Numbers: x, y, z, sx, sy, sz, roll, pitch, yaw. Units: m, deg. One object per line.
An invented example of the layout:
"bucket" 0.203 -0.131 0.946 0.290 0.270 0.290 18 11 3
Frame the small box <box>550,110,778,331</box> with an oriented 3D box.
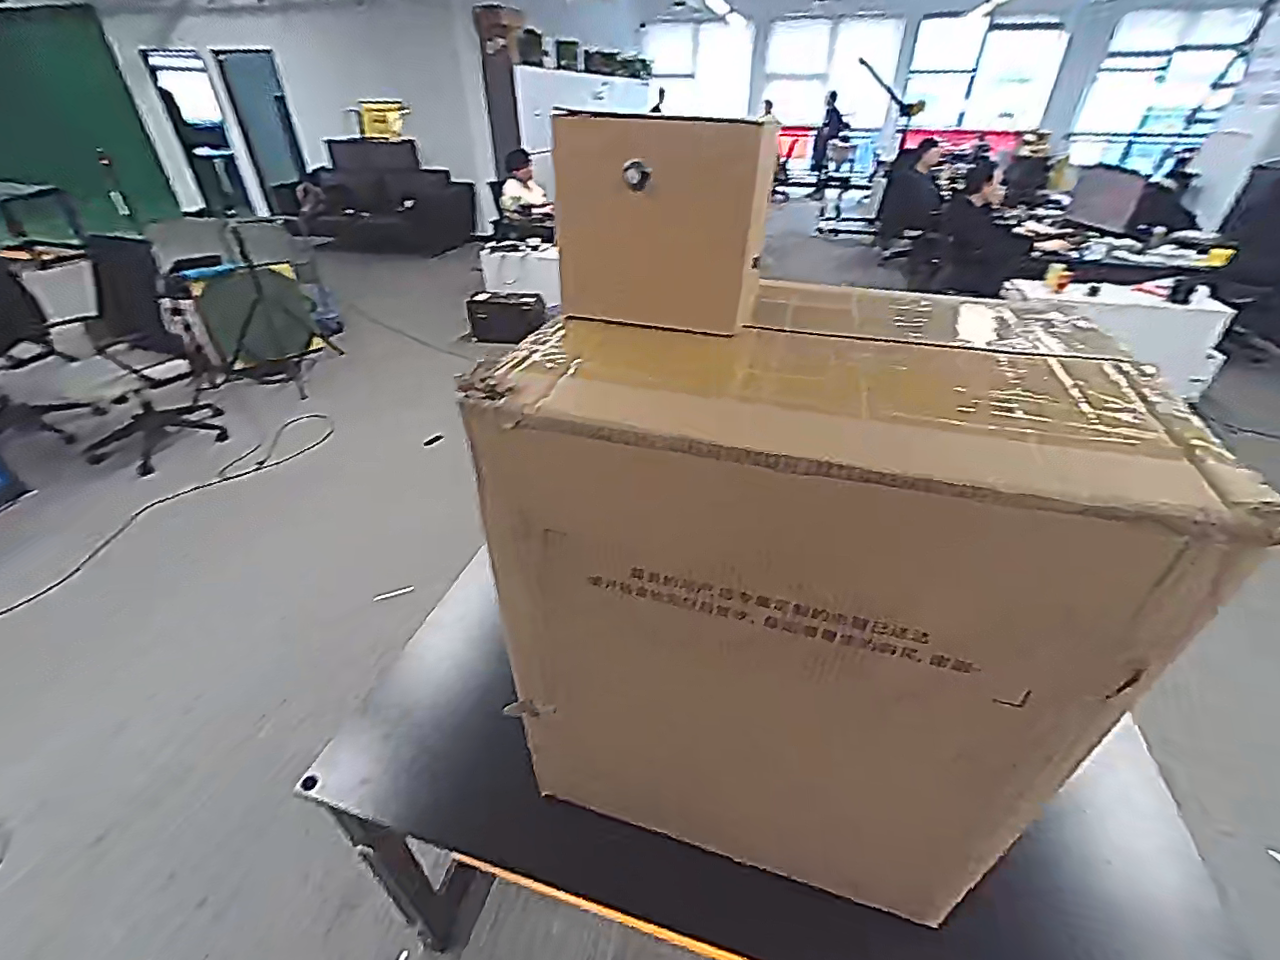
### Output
"small box" 0.028 -0.254 0.528 0.179 0.176 0.168 11 35 12
